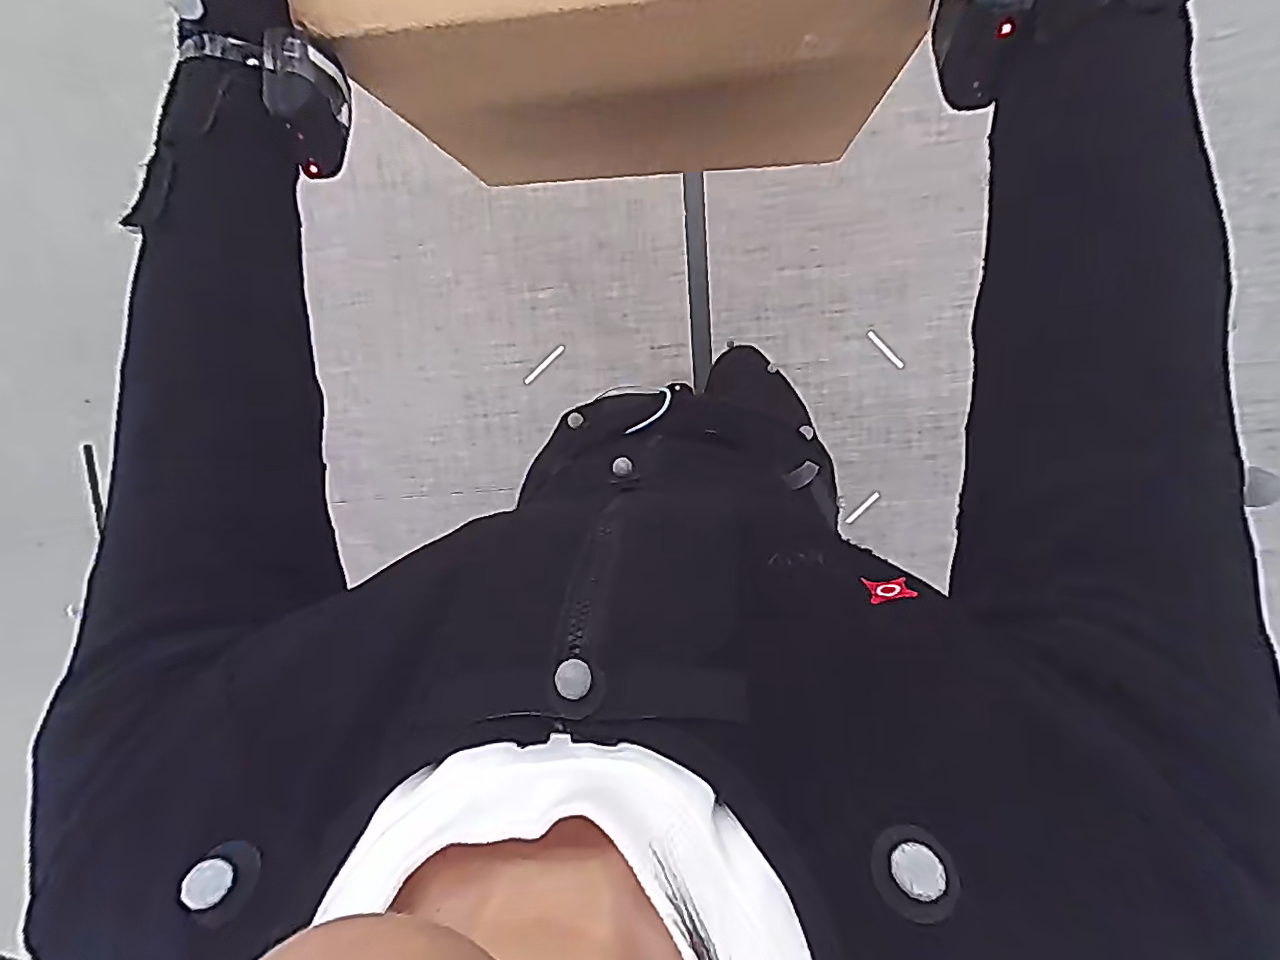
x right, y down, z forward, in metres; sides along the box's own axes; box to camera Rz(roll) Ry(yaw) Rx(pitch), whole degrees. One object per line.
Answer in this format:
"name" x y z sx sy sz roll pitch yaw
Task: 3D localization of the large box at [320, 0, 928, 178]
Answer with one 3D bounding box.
"large box" -0.002 -0.476 0.439 0.408 0.320 0.320 -1 103 6
